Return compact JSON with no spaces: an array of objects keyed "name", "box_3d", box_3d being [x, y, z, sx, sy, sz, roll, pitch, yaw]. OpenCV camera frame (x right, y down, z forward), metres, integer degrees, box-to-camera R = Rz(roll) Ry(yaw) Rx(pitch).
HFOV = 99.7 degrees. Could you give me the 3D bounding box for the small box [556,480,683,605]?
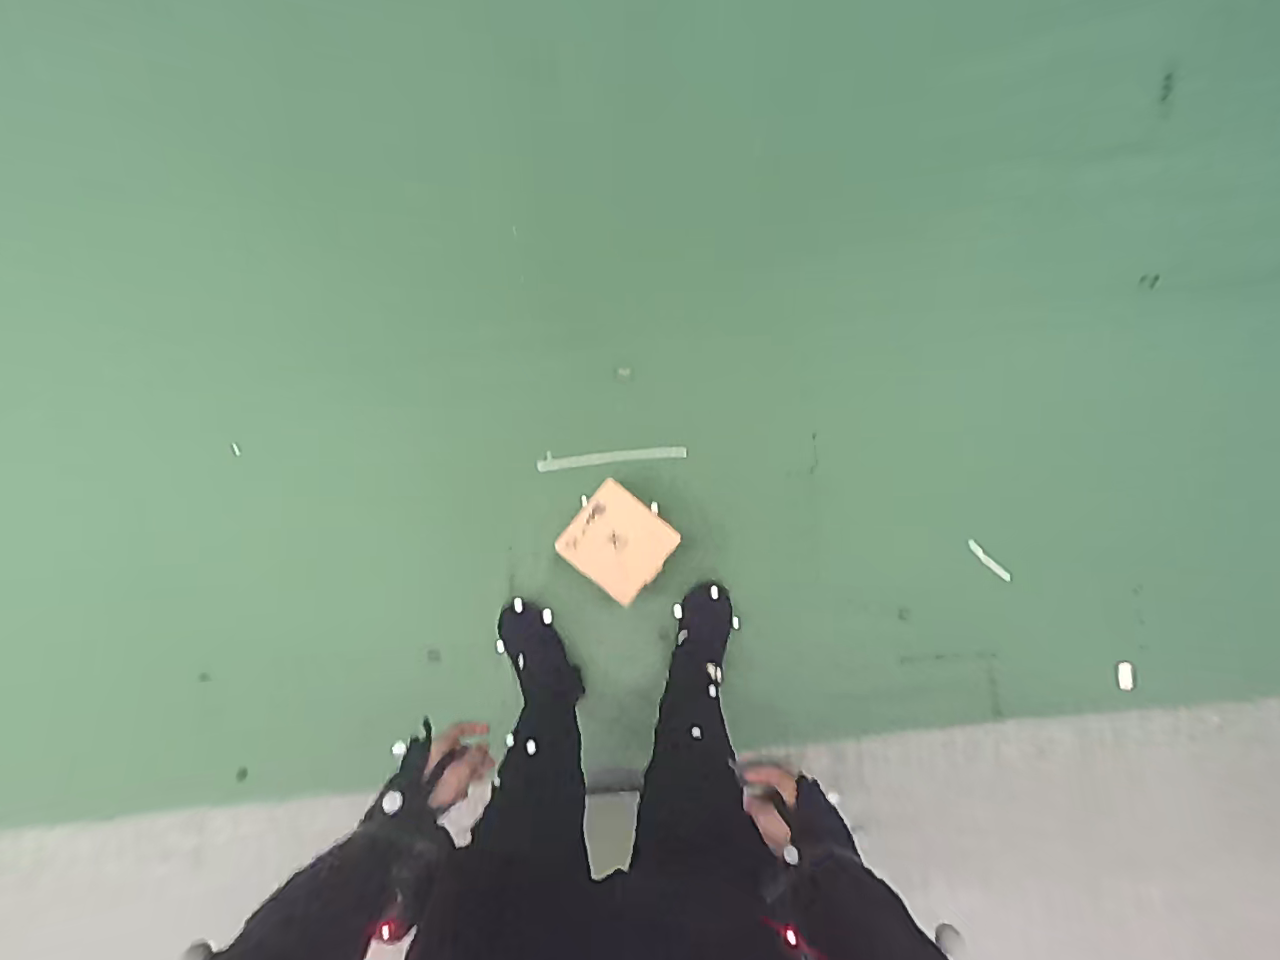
[{"name":"small box","box_3d":[-0.037,0.111,1.063,0.179,0.176,0.168,40,91,-1]}]
